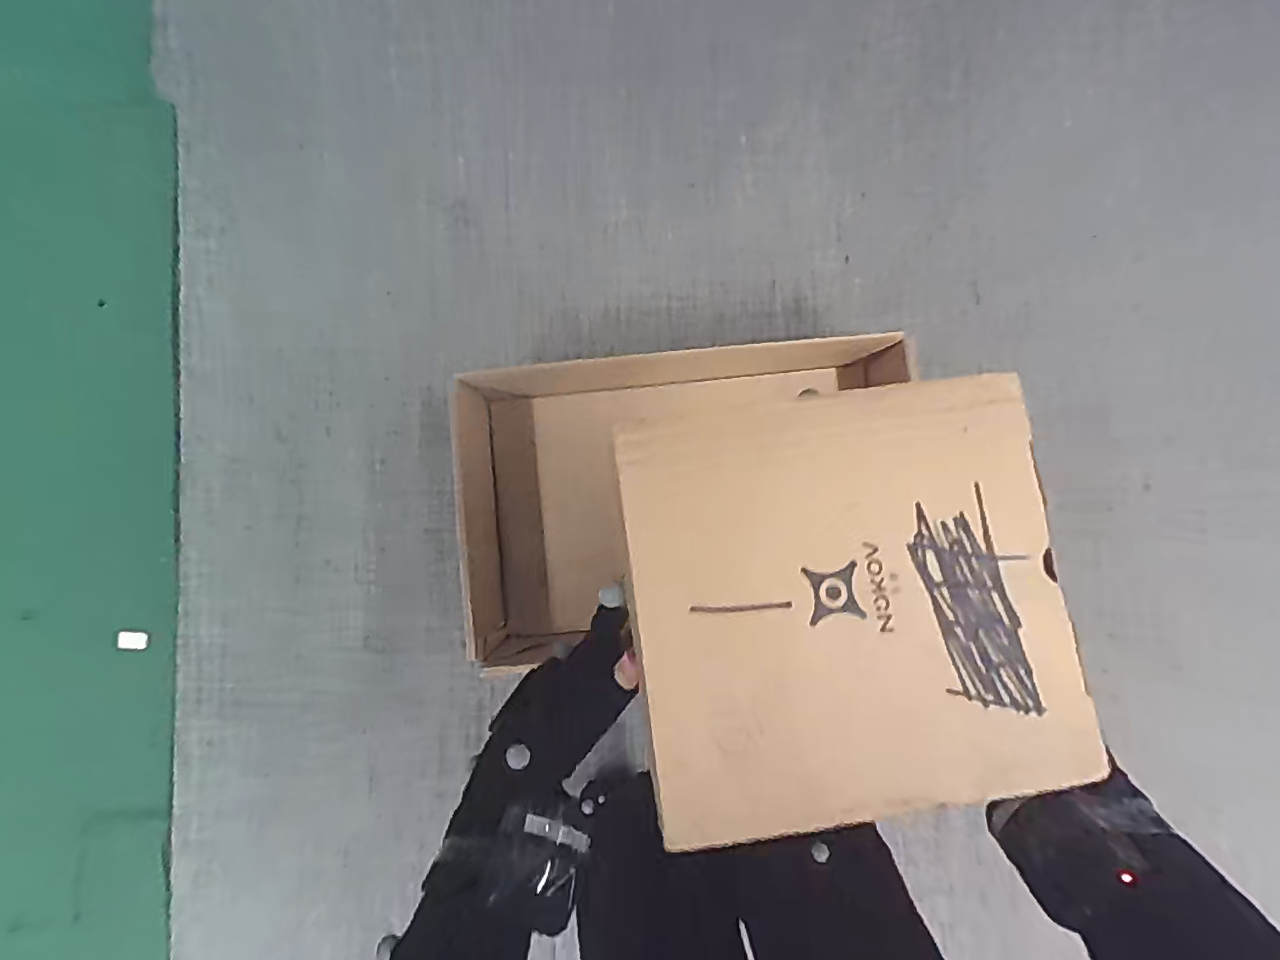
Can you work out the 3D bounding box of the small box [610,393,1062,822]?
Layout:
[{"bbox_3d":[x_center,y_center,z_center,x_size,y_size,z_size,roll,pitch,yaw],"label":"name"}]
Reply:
[{"bbox_3d":[0.077,0.059,0.306,0.179,0.176,0.168,-6,81,-2],"label":"small box"}]
